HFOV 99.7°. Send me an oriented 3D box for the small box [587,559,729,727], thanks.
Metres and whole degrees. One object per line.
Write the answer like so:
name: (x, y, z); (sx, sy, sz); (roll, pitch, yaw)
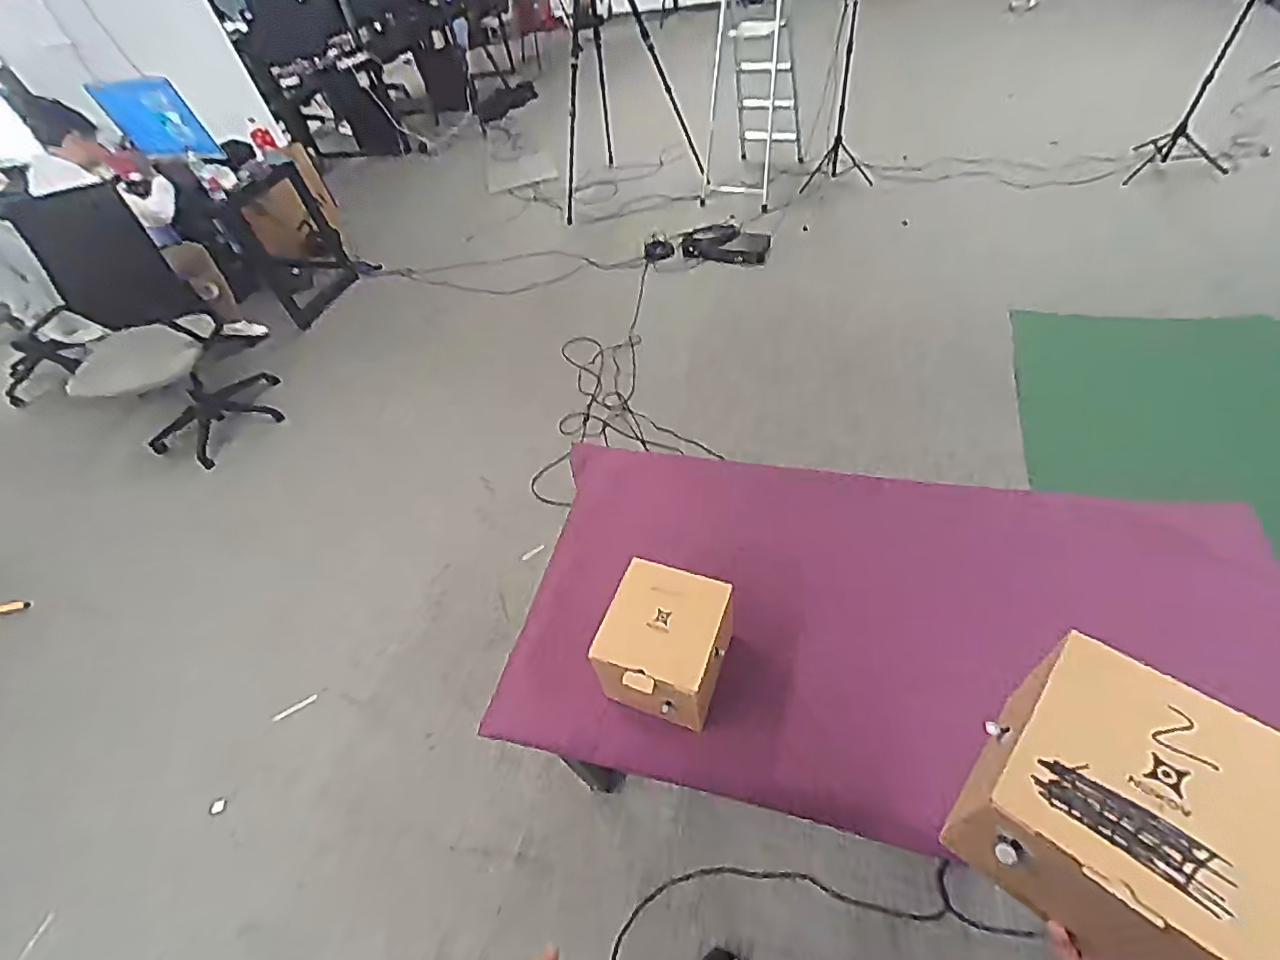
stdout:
small box: (0.039, 0.258, 0.849); (0.168, 0.176, 0.179); (14, 52, 20)
